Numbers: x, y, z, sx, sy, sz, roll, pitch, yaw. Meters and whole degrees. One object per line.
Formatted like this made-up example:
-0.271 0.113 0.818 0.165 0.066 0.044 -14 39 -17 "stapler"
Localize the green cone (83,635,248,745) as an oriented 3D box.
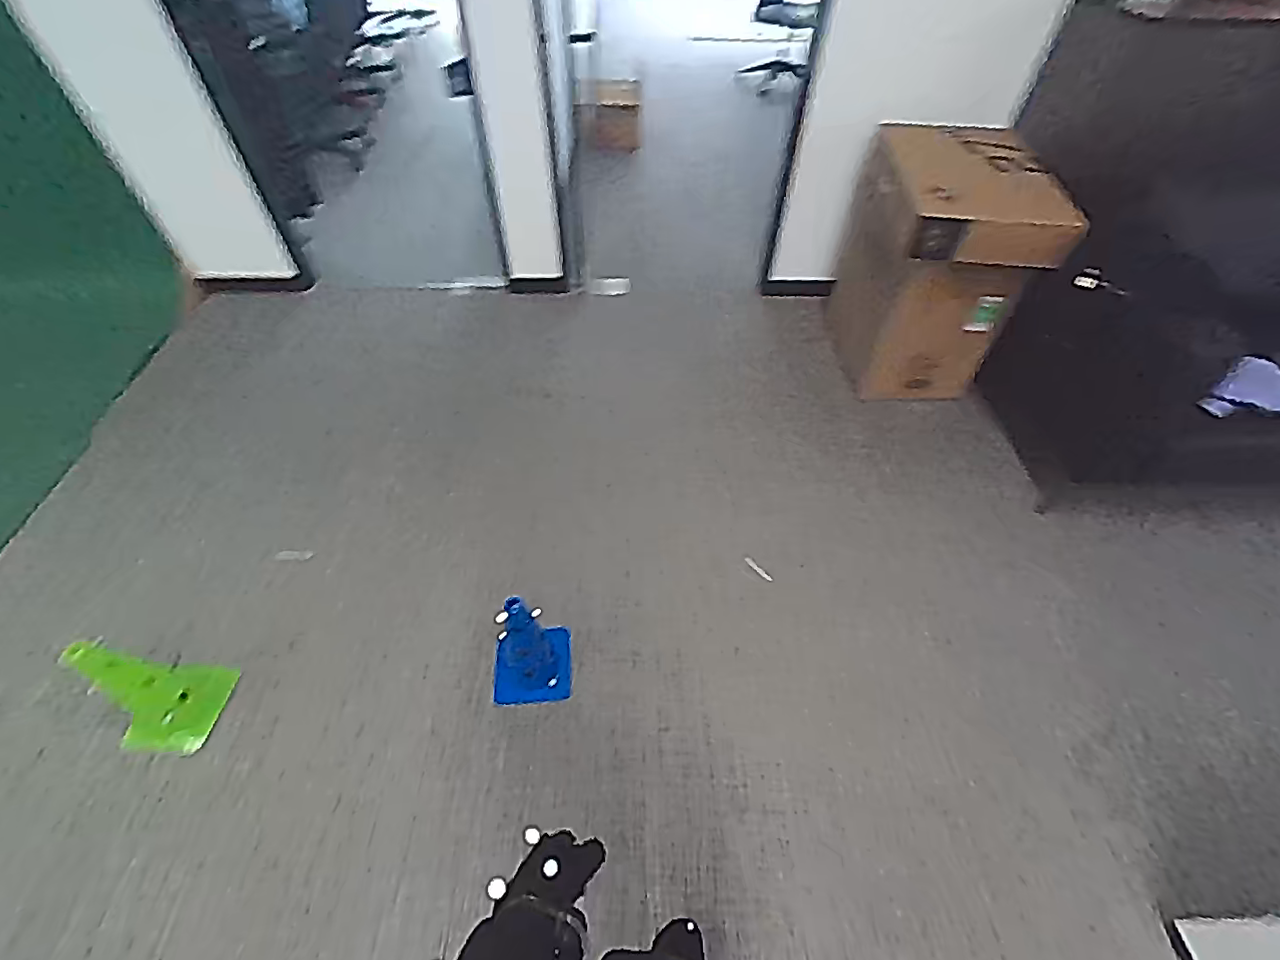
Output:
-1.136 0.456 1.248 0.202 0.368 0.200 3 50 1 "green cone"
